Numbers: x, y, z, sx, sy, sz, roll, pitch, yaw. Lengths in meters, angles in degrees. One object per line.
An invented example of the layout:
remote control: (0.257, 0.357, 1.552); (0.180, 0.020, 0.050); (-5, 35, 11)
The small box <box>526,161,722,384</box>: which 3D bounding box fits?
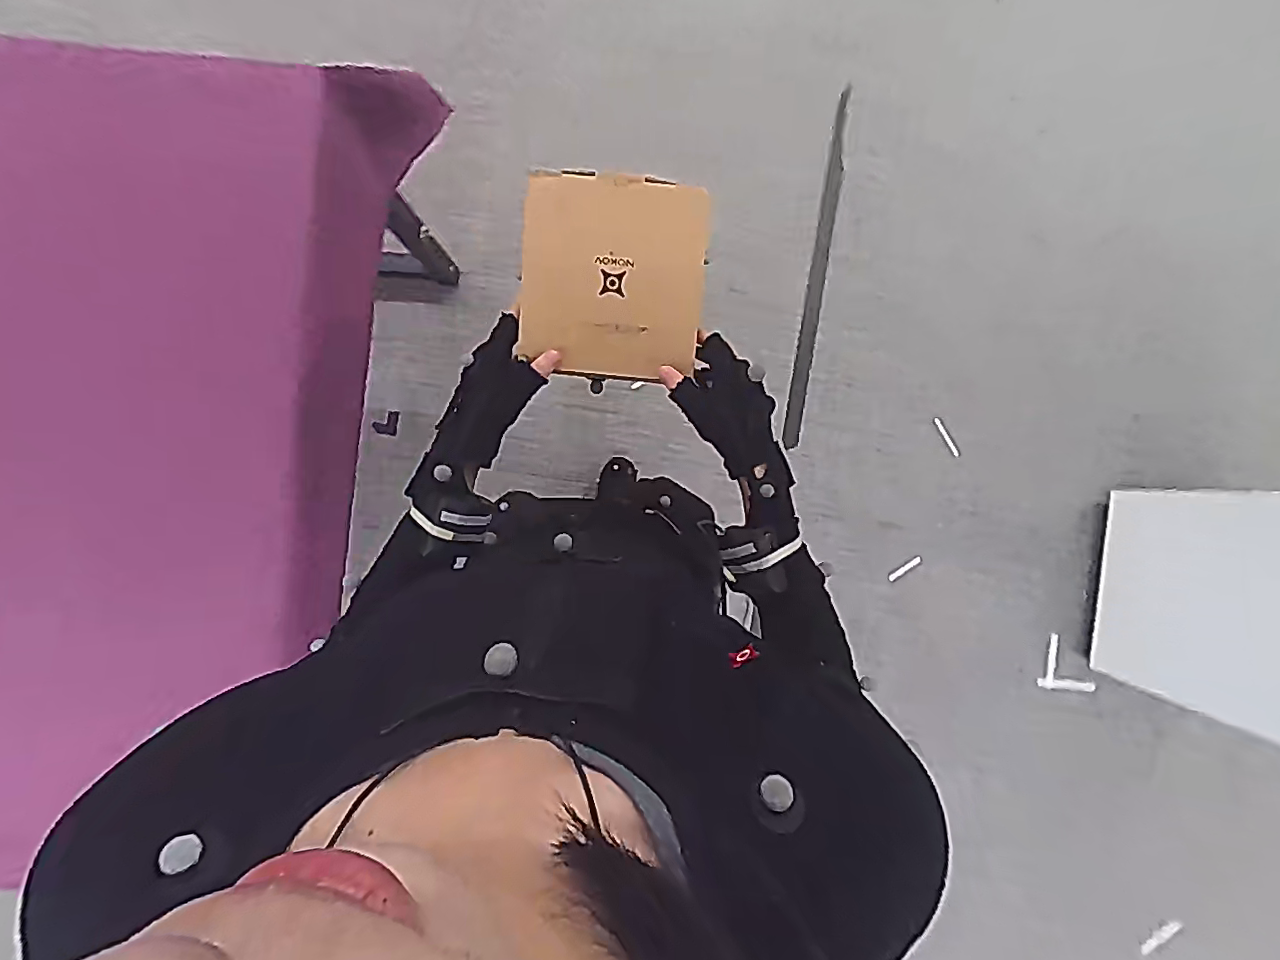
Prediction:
small box: (-0.020, -0.197, 0.565); (0.168, 0.176, 0.179); (5, 99, -3)
